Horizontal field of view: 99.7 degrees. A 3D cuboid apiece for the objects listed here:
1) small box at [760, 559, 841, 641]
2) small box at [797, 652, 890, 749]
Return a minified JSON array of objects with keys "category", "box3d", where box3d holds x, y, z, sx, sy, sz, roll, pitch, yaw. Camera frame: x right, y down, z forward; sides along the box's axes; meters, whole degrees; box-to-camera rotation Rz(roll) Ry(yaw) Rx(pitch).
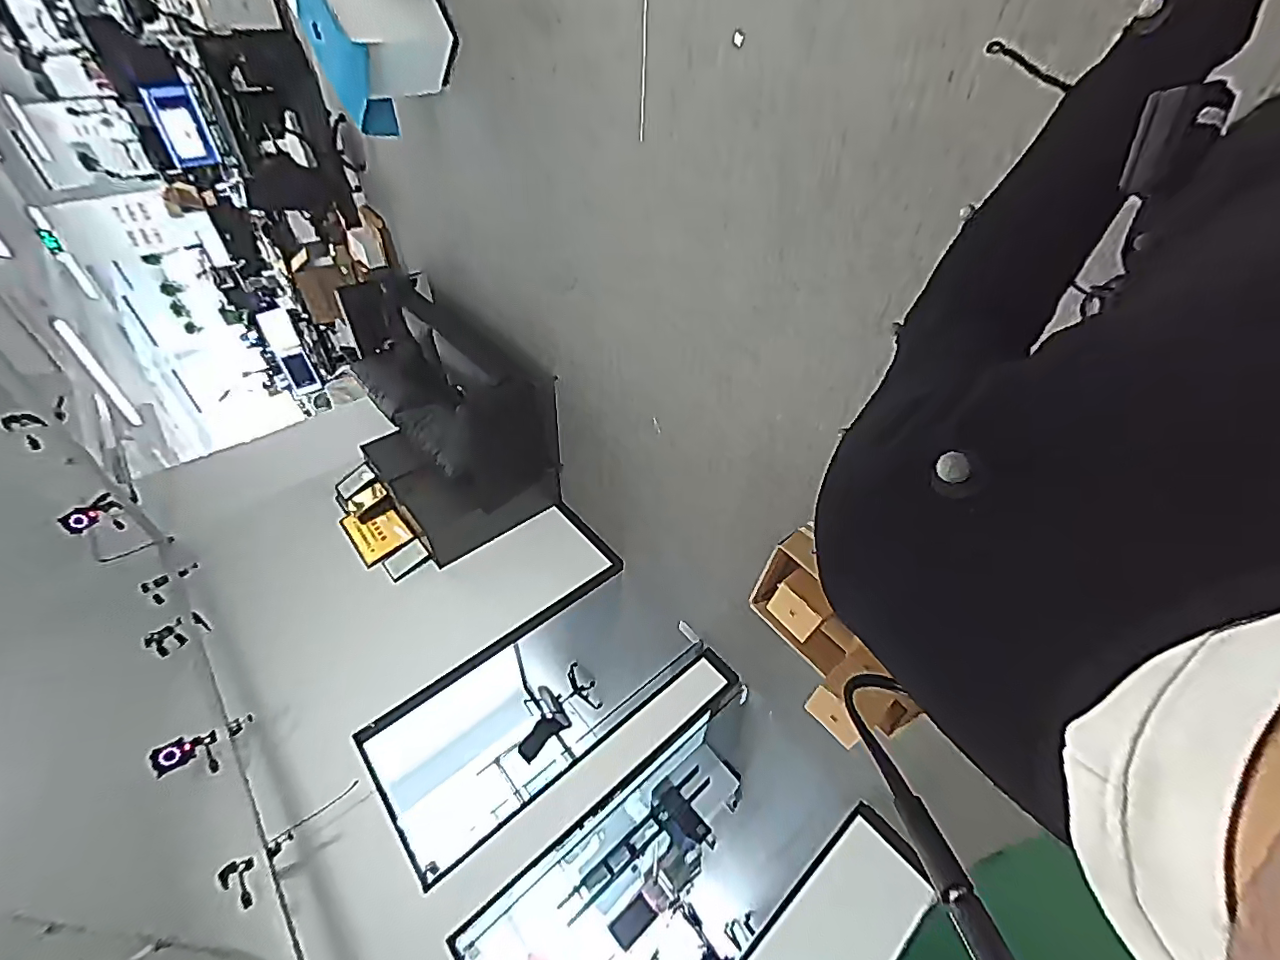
[{"category":"small box","box3d":[0.536,0.399,1.805,0.168,0.176,0.179,45,146,26]},{"category":"small box","box3d":[0.597,0.644,1.588,0.168,0.176,0.179,42,145,29]}]
